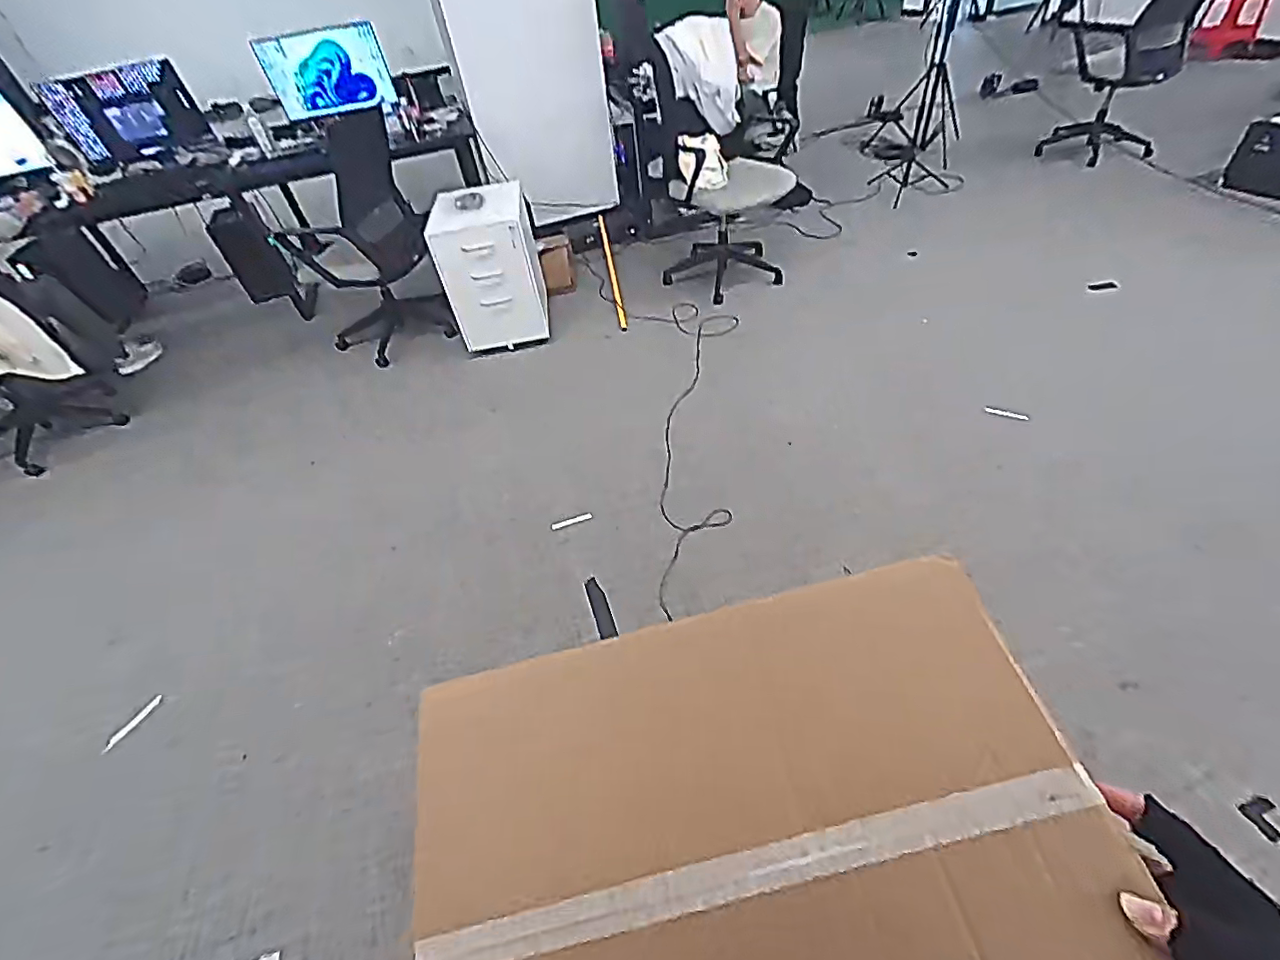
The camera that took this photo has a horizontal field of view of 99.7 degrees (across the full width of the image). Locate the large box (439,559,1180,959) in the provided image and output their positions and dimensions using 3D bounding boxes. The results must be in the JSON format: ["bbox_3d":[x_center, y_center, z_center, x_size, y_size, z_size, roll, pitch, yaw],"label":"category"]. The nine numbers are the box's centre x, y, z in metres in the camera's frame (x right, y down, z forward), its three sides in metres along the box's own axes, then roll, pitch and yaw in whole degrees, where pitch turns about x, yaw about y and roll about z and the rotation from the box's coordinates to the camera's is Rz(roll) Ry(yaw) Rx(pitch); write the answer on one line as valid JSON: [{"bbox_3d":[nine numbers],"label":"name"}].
[{"bbox_3d":[0.092,0.316,0.449,0.408,0.320,0.320,-15,56,0],"label":"large box"}]
